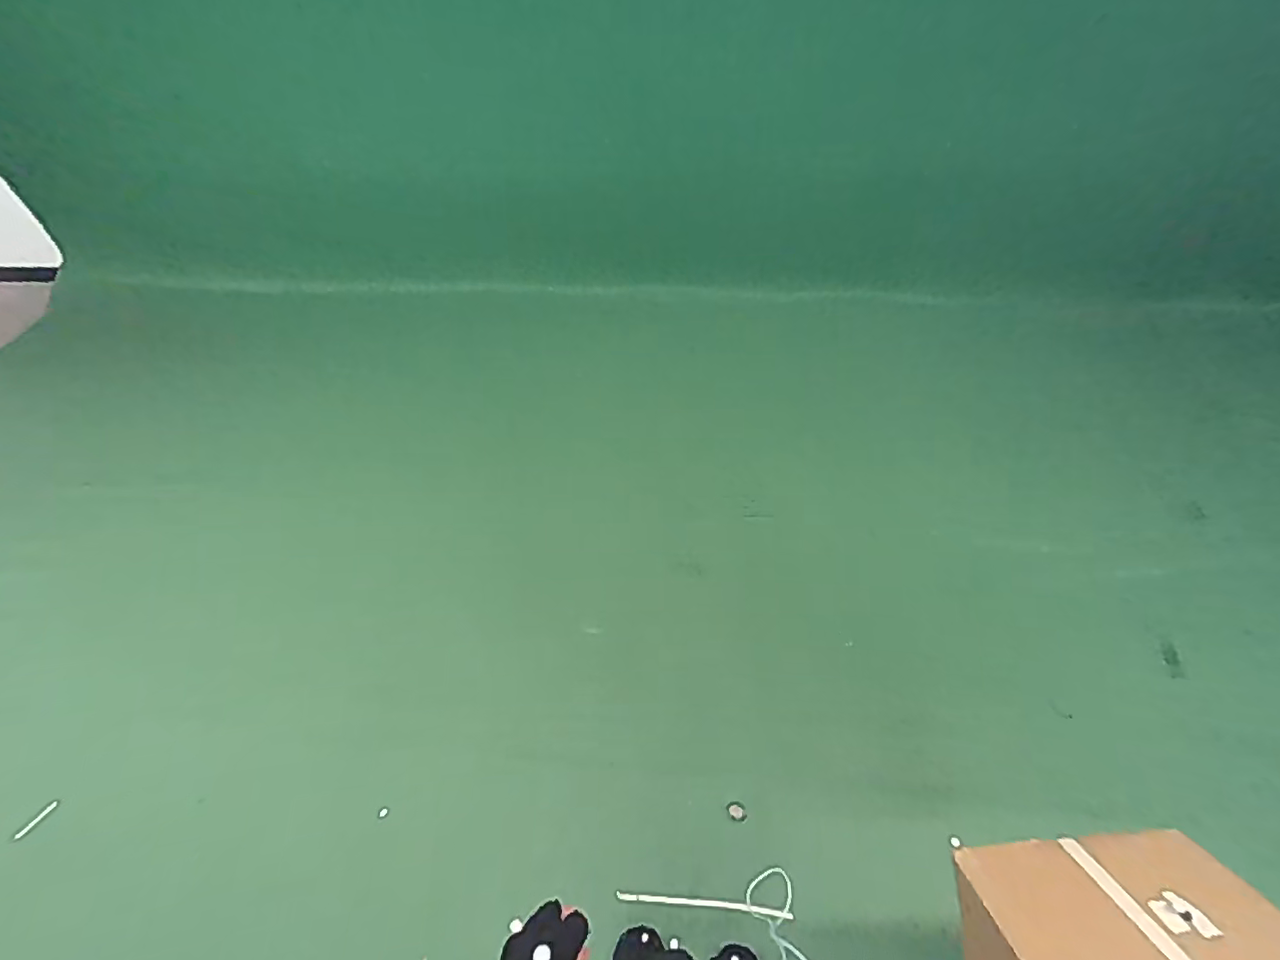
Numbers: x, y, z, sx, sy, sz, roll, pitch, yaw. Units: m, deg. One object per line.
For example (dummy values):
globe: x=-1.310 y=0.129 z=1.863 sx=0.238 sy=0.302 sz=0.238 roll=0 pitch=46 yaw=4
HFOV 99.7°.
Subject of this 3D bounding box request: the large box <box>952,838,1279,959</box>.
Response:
large box: x=0.619 y=0.694 z=0.593 sx=0.320 sy=0.408 sz=0.320 roll=-9 pitch=93 yaw=5
